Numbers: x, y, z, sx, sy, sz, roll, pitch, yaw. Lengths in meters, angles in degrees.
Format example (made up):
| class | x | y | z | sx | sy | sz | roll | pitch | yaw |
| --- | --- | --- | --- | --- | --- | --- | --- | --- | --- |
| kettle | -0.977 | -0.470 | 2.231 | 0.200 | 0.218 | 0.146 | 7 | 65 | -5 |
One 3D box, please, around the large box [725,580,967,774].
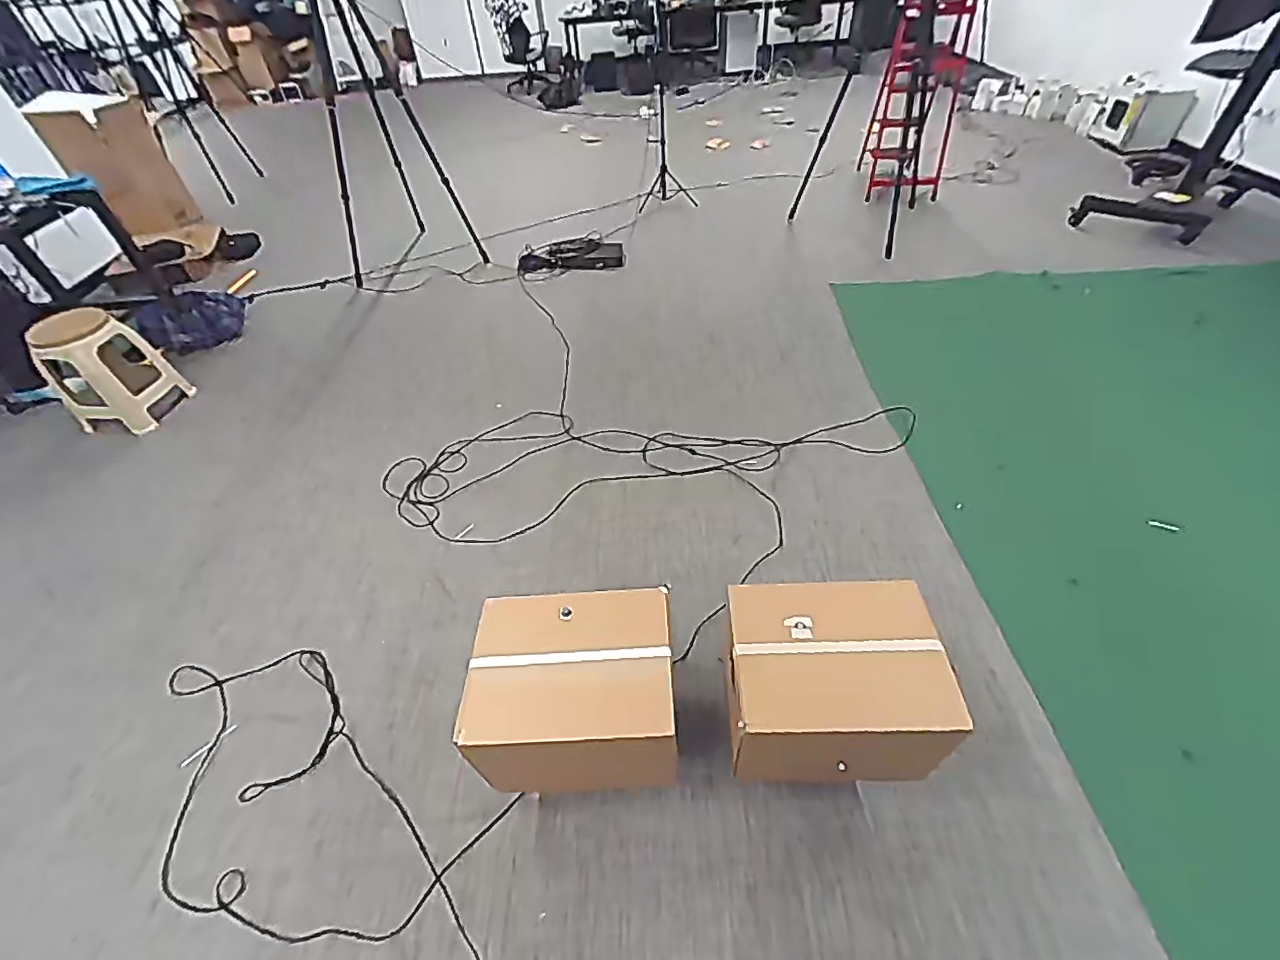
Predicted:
| class | x | y | z | sx | sy | sz | roll | pitch | yaw |
| --- | --- | --- | --- | --- | --- | --- | --- | --- | --- |
| large box | 0.405 | 0.440 | 1.189 | 0.408 | 0.320 | 0.320 | -2 | 46 | 4 |
